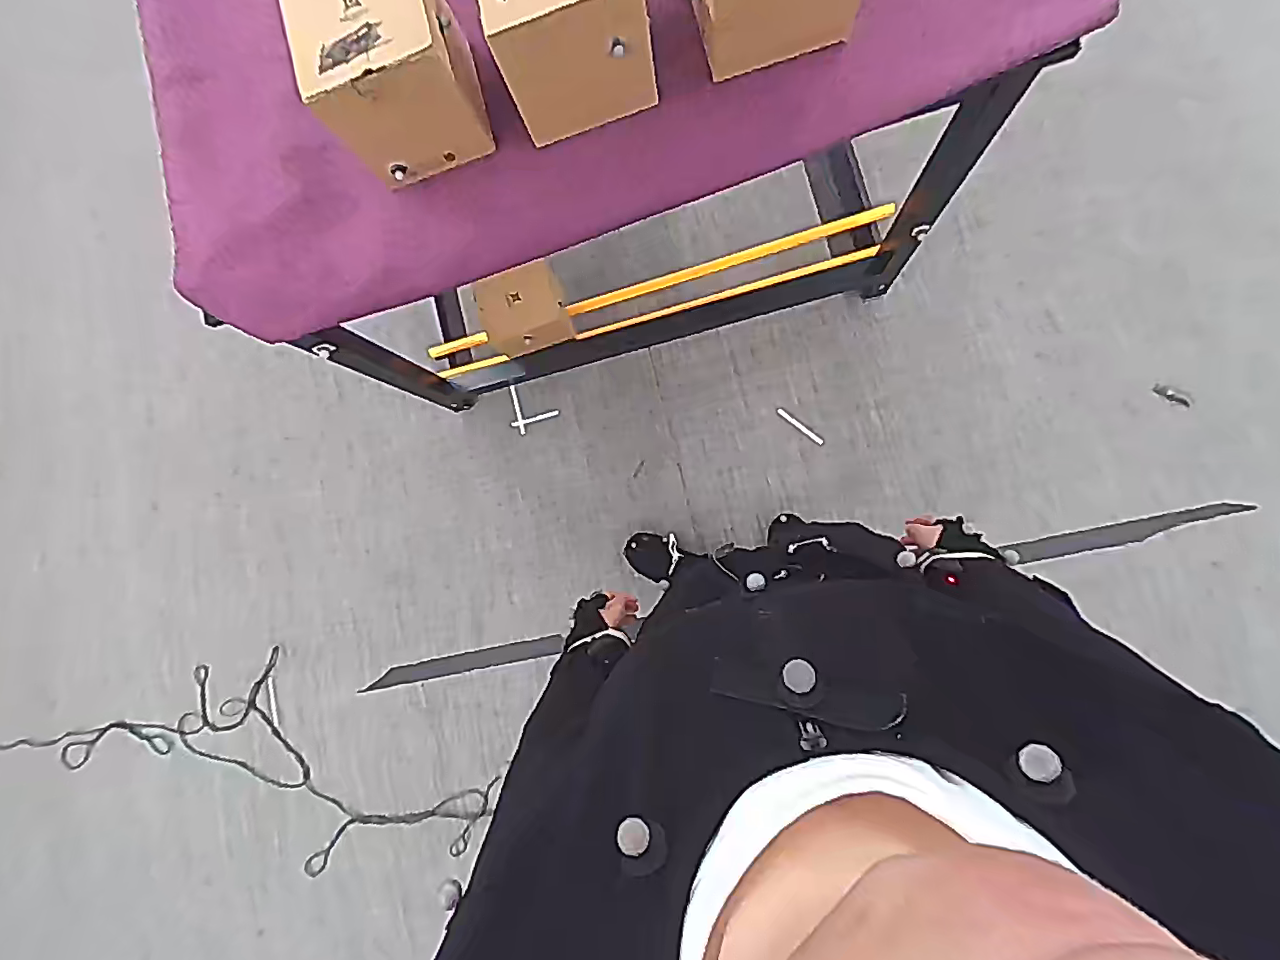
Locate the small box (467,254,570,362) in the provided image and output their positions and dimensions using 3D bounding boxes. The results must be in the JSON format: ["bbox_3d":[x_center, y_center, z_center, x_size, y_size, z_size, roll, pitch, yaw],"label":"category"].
[{"bbox_3d":[-0.279,-0.402,1.290,0.179,0.176,0.168,-19,85,6],"label":"small box"}]
